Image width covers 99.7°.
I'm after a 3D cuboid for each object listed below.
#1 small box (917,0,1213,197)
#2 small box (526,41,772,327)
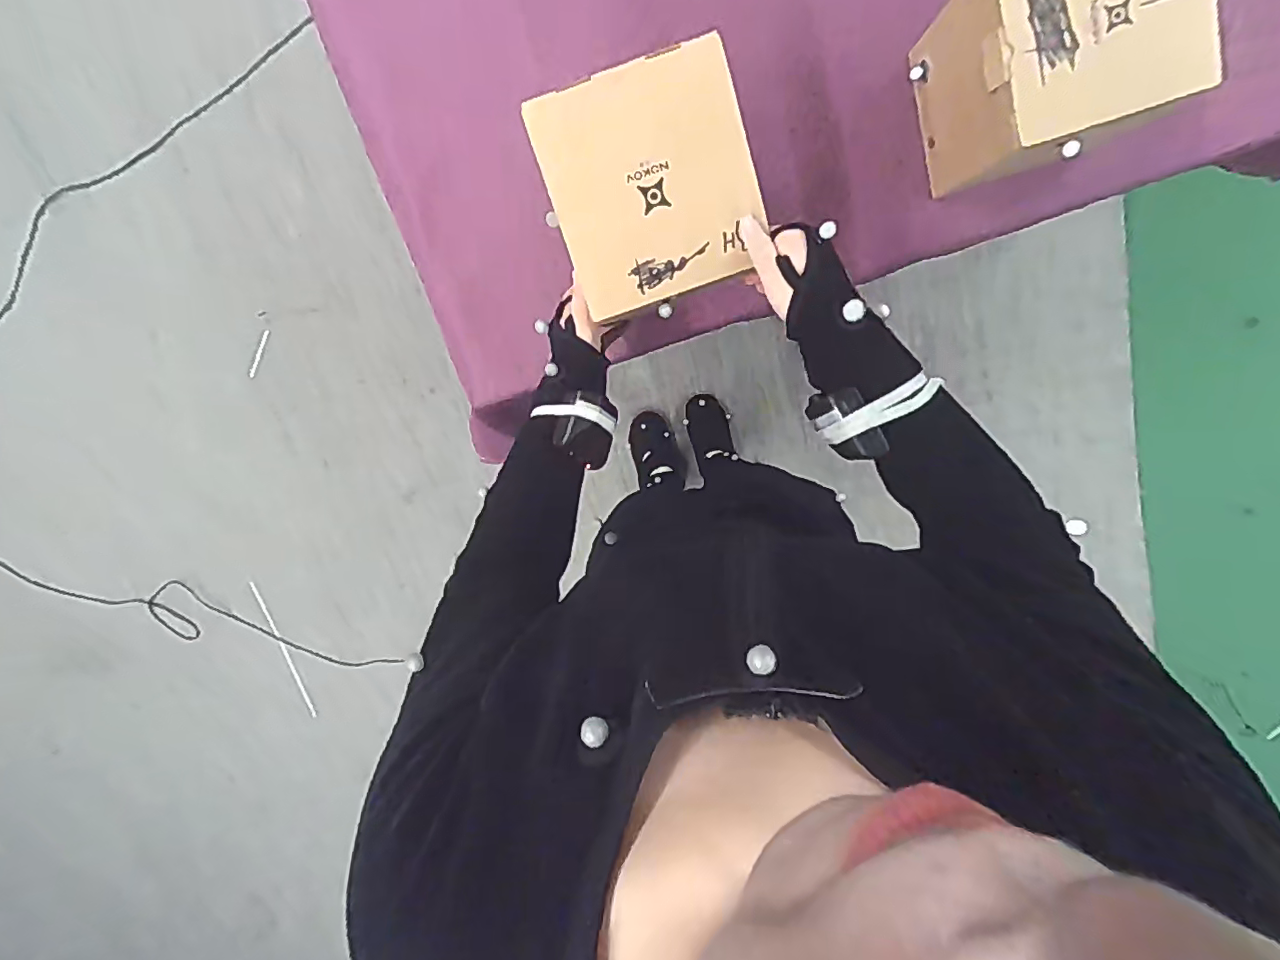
[{"bbox_3d":[0.406,-0.416,0.550,0.179,0.176,0.168,-15,102,6],"label":"small box"},{"bbox_3d":[0.008,-0.256,0.516,0.168,0.176,0.179,-17,104,4],"label":"small box"}]
